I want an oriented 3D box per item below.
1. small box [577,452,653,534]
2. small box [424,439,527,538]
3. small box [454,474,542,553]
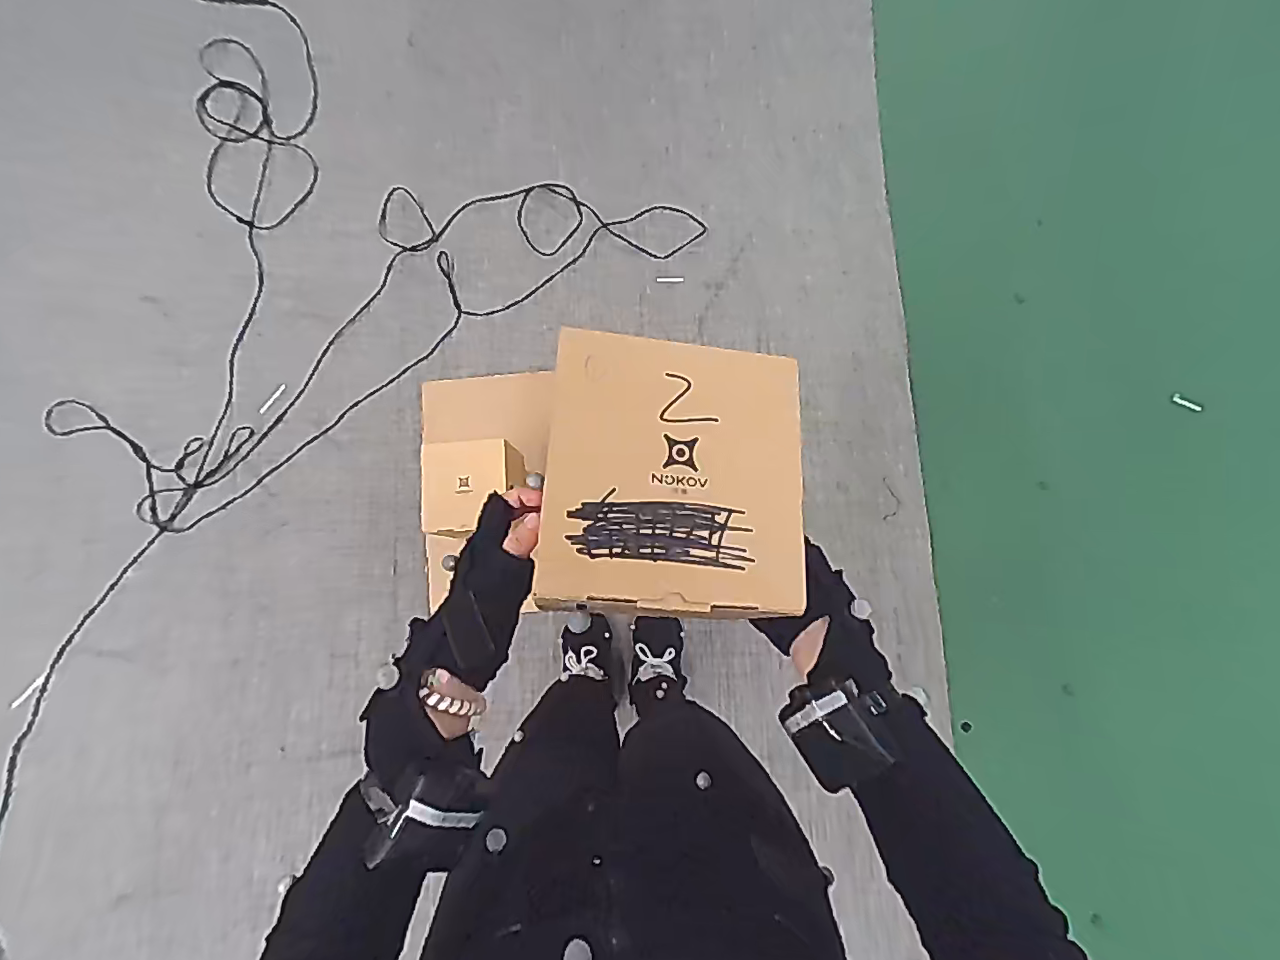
[{"bbox_3d":[-0.055,0.036,1.275,0.168,0.176,0.179,-1,82,2],"label":"small box"},{"bbox_3d":[-0.332,0.023,1.115,0.168,0.176,0.179,-4,81,0],"label":"small box"},{"bbox_3d":[-0.331,0.075,1.271,0.168,0.176,0.179,-7,81,0],"label":"small box"}]
